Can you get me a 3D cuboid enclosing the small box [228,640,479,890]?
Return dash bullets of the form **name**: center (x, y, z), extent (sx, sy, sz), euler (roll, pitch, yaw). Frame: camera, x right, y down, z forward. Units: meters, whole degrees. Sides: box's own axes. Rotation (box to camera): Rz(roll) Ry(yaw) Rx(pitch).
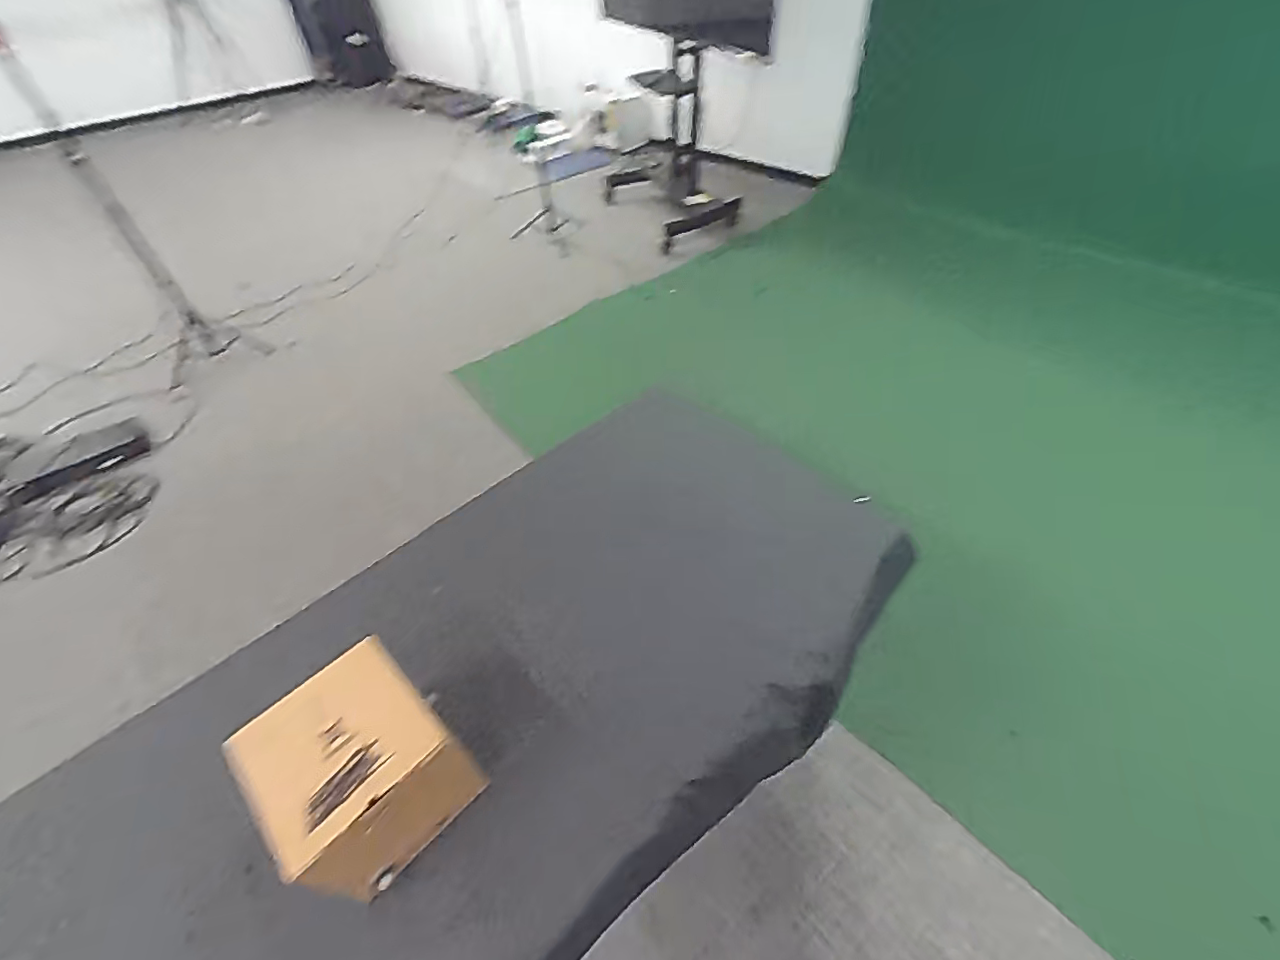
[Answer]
- **small box**: center (-0.313, 0.328, 0.621), extent (0.179, 0.176, 0.168), euler (33, 56, 31)
